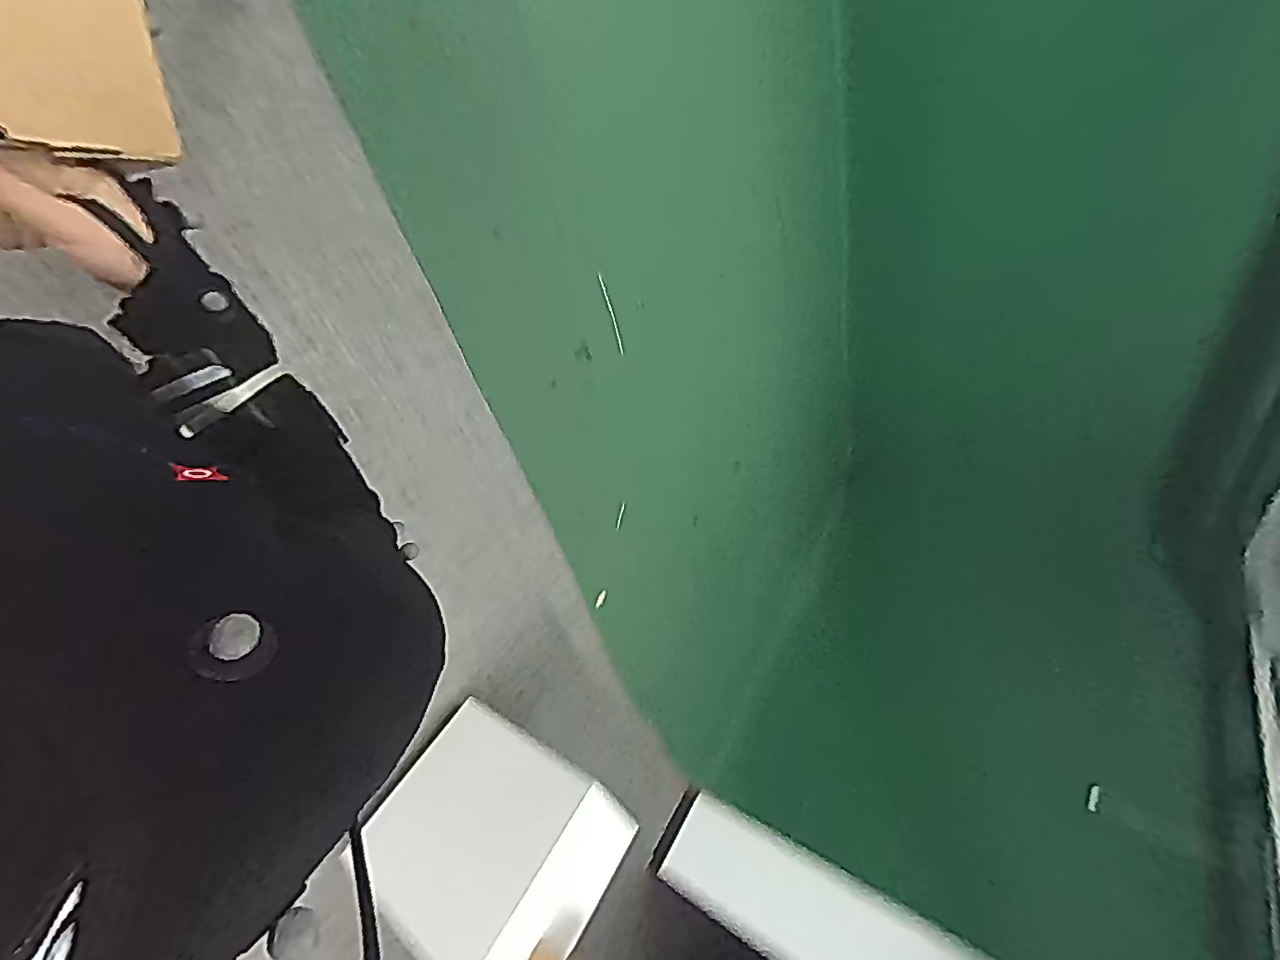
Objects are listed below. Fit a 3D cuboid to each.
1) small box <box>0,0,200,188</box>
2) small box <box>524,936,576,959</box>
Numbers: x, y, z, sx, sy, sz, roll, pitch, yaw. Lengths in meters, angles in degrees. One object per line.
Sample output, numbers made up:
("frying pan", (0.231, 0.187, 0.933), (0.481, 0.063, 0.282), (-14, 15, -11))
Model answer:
("small box", (-0.389, -0.268, 0.295), (0.168, 0.176, 0.179), (-25, 127, -47))
("small box", (-0.222, 1.296, 1.354), (0.168, 0.176, 0.179), (-51, 138, -31))
